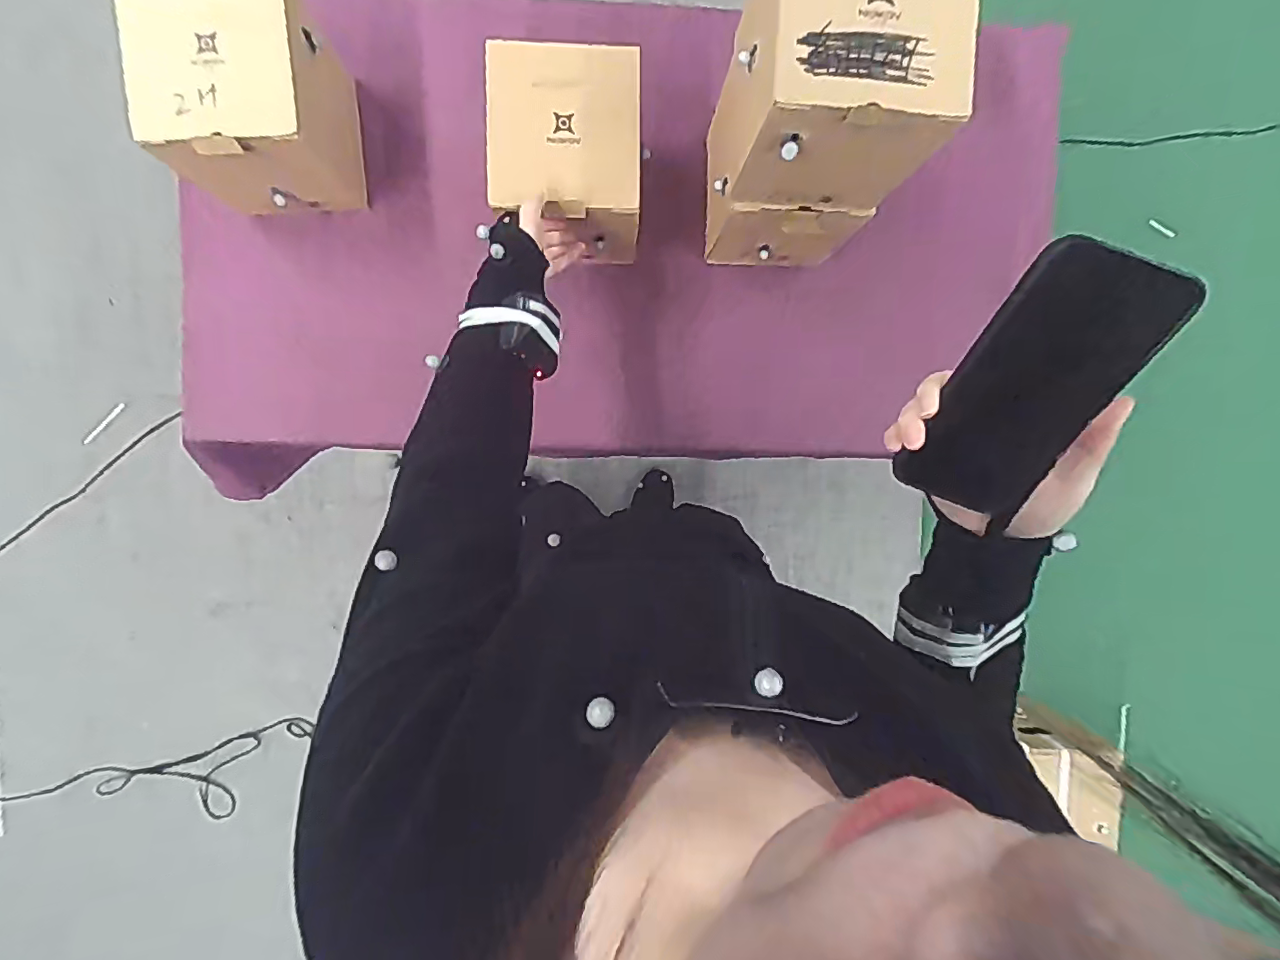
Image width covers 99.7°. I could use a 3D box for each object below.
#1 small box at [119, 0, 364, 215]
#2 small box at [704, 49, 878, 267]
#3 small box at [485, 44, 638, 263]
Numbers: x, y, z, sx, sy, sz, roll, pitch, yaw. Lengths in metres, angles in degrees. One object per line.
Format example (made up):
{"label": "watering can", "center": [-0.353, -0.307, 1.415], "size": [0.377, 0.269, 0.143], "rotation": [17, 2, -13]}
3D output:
{"label": "small box", "center": [-0.447, -0.437, 0.634], "size": [0.168, 0.176, 0.179], "rotation": [-4, 93, -3]}
{"label": "small box", "center": [0.176, -0.386, 0.677], "size": [0.168, 0.176, 0.179], "rotation": [0, 93, -3]}
{"label": "small box", "center": [-0.089, -0.380, 0.661], "size": [0.168, 0.176, 0.179], "rotation": [0, 92, -4]}
